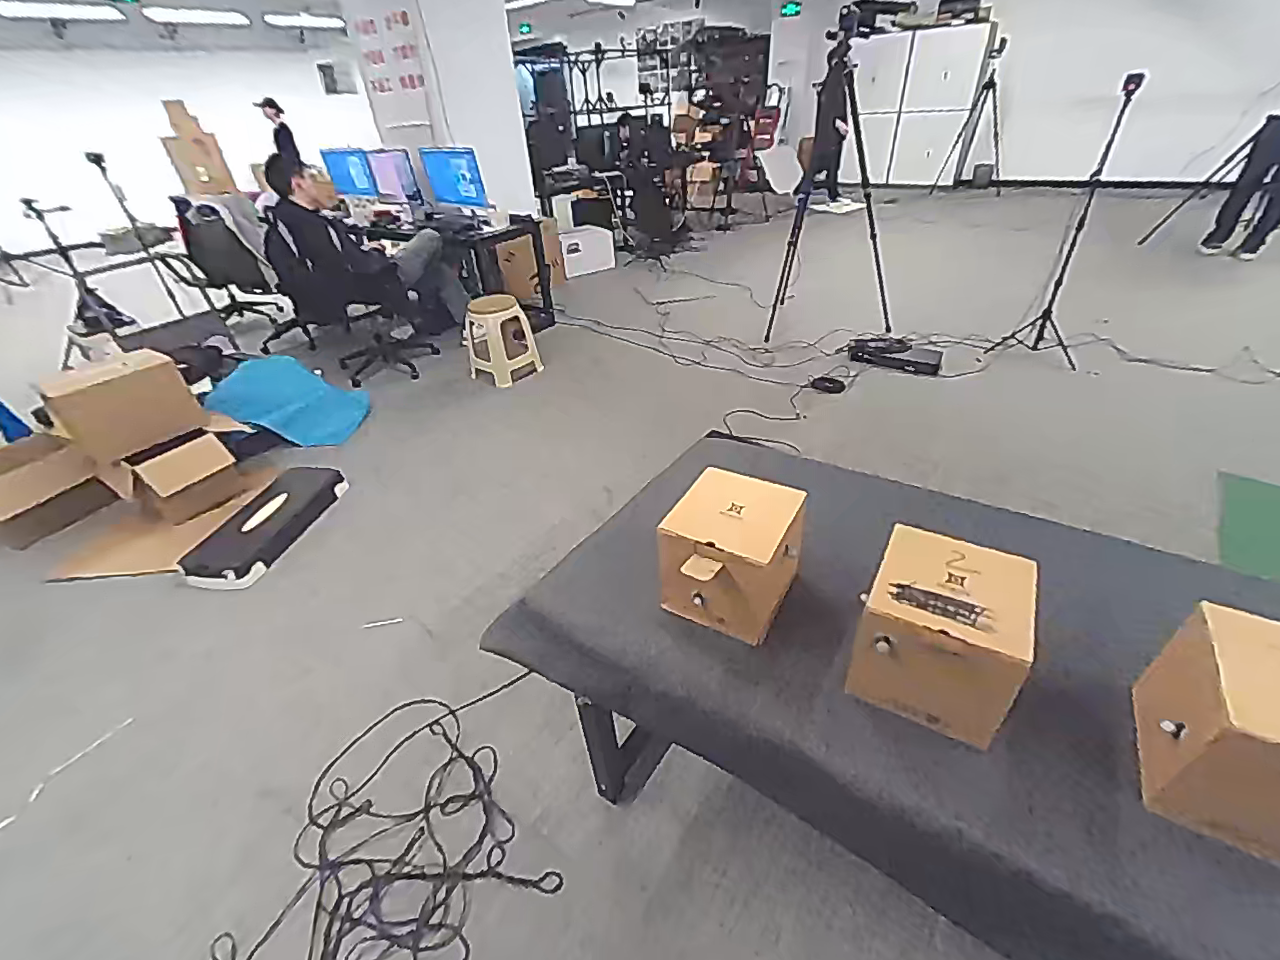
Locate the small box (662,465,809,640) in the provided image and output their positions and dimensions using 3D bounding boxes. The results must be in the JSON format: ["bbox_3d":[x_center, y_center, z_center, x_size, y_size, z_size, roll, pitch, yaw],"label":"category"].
[{"bbox_3d":[0.145,0.107,0.834,0.168,0.176,0.179,17,41,26],"label":"small box"}]

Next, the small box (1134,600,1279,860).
[{"bbox_3d":[0.652,0.265,0.555,0.168,0.176,0.179,18,40,27],"label":"small box"}]
